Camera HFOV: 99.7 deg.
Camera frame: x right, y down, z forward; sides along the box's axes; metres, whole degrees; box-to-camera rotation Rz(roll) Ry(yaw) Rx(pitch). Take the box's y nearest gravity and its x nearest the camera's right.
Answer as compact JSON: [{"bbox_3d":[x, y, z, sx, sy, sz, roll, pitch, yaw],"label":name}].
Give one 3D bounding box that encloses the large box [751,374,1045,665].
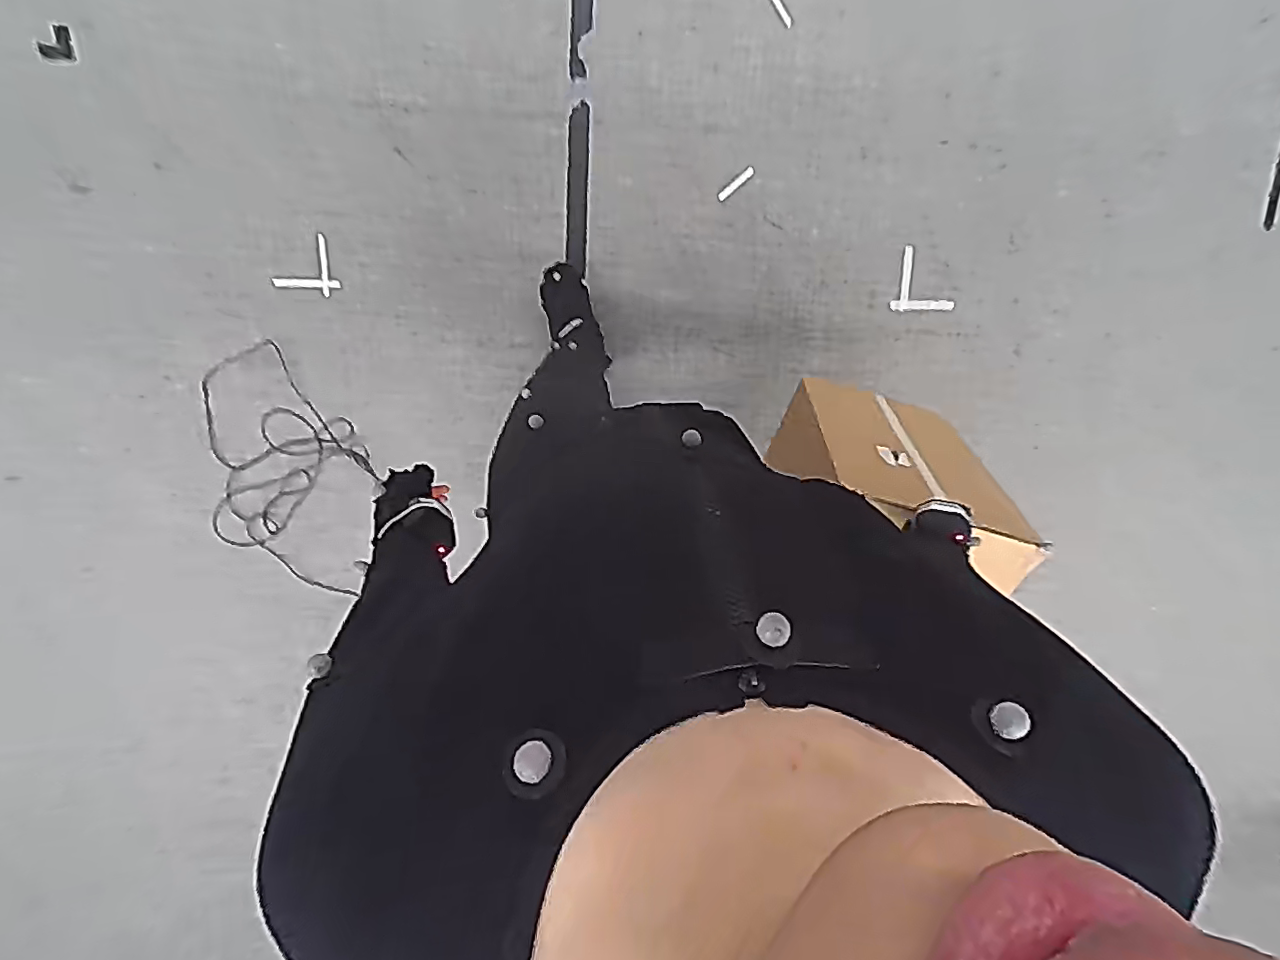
[{"bbox_3d":[0.417,0.059,1.009,0.320,0.408,0.320,15,126,-3],"label":"large box"}]
